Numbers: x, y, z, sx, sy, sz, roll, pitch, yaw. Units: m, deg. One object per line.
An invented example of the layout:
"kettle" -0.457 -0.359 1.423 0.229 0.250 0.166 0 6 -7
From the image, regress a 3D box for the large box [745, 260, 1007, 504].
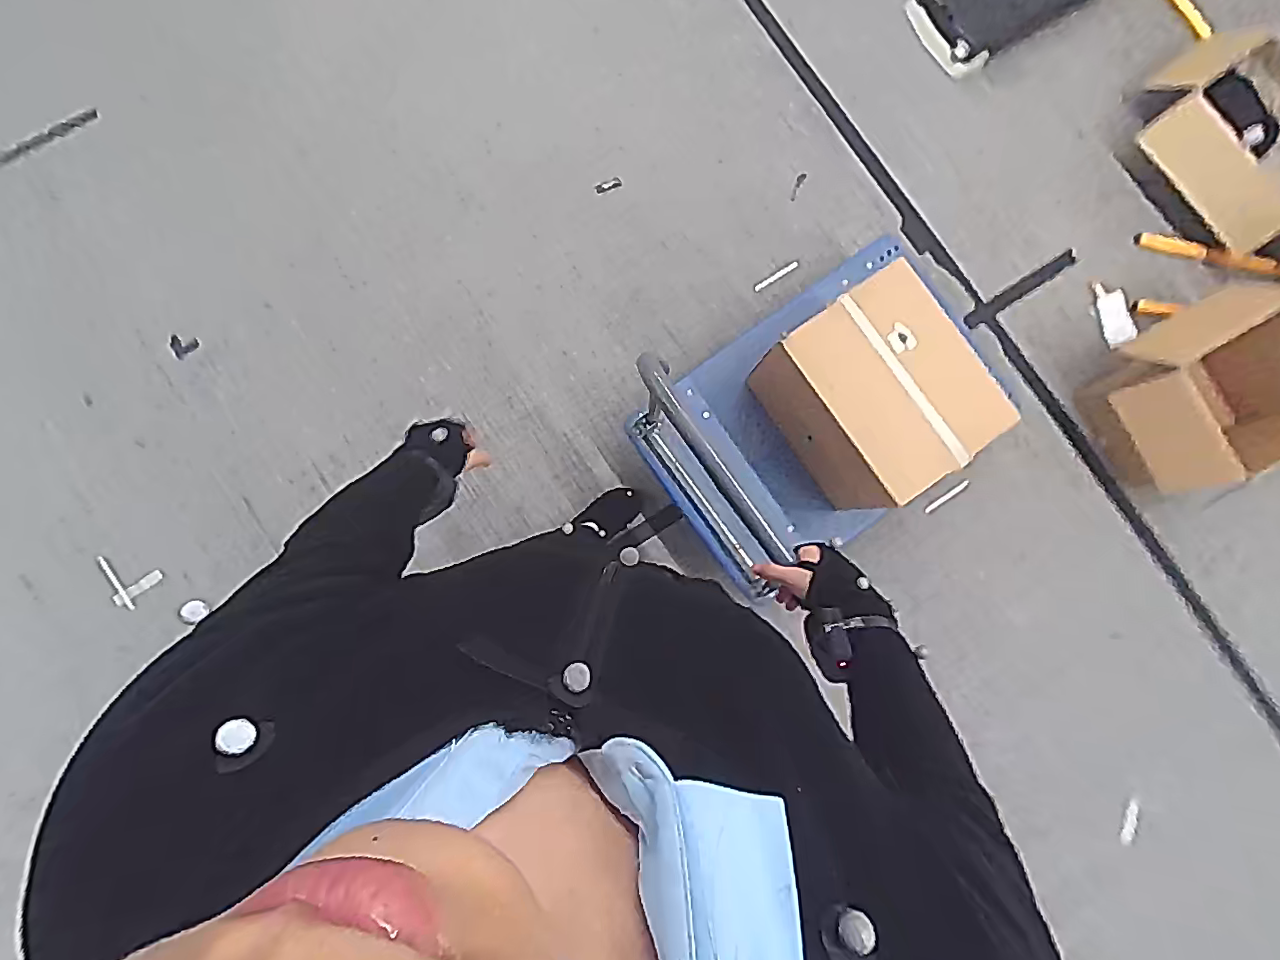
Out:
"large box" 0.504 -0.196 1.240 0.320 0.320 0.408 -35 86 -5
